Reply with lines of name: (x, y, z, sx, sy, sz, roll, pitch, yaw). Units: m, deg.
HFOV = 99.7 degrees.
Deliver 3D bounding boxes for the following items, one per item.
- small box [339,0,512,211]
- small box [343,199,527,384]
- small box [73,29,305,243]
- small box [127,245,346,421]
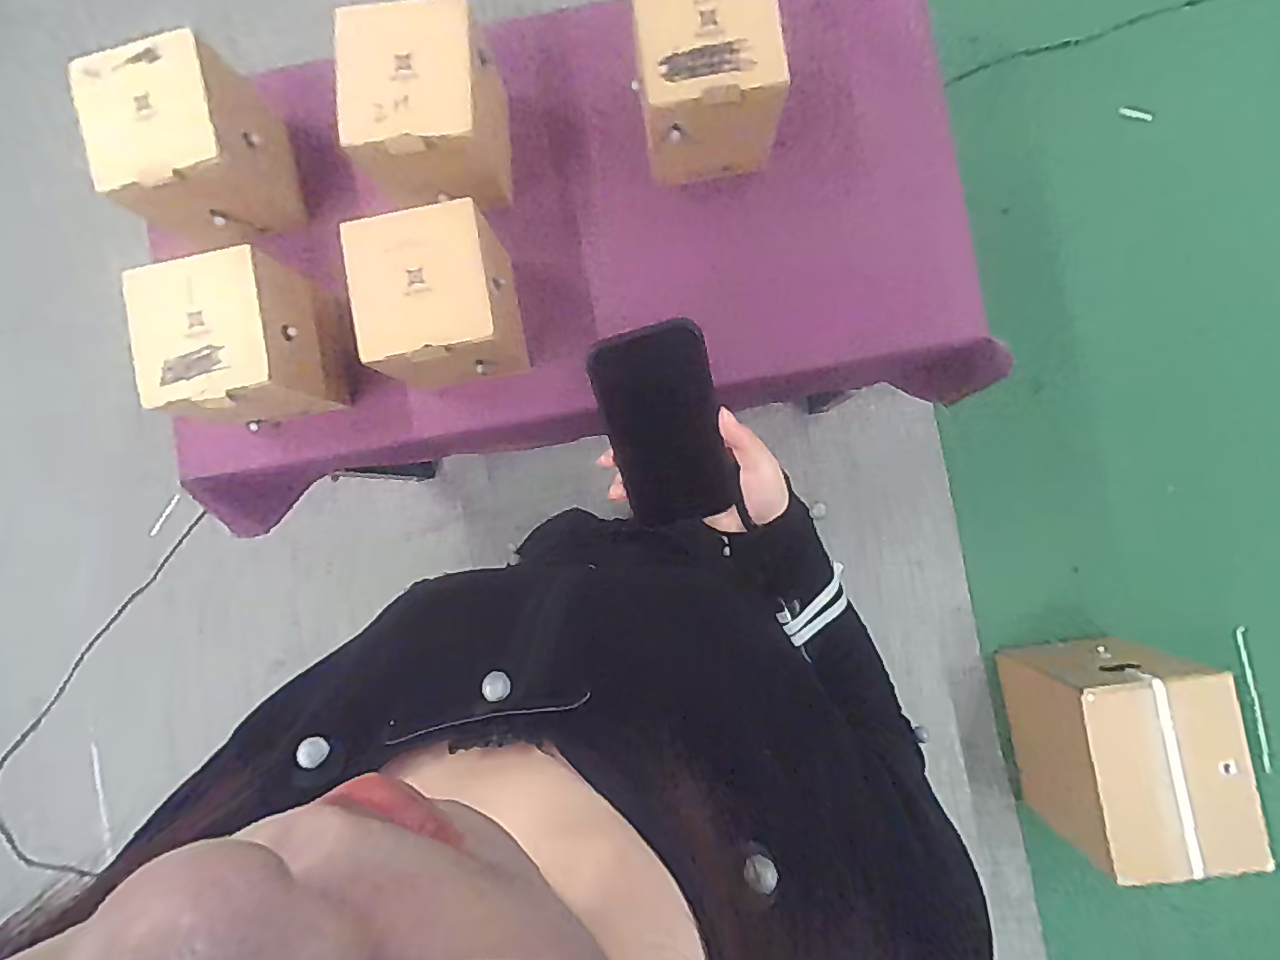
small box: (-0.278, -0.490, 0.730, 0.168, 0.176, 0.179, -3, 88, 3)
small box: (-0.260, -0.234, 0.722, 0.168, 0.176, 0.179, -10, 87, 2)
small box: (-0.602, -0.452, 0.747, 0.168, 0.176, 0.179, -14, 88, 2)
small box: (-0.529, -0.183, 0.734, 0.168, 0.176, 0.179, -11, 86, 2)
